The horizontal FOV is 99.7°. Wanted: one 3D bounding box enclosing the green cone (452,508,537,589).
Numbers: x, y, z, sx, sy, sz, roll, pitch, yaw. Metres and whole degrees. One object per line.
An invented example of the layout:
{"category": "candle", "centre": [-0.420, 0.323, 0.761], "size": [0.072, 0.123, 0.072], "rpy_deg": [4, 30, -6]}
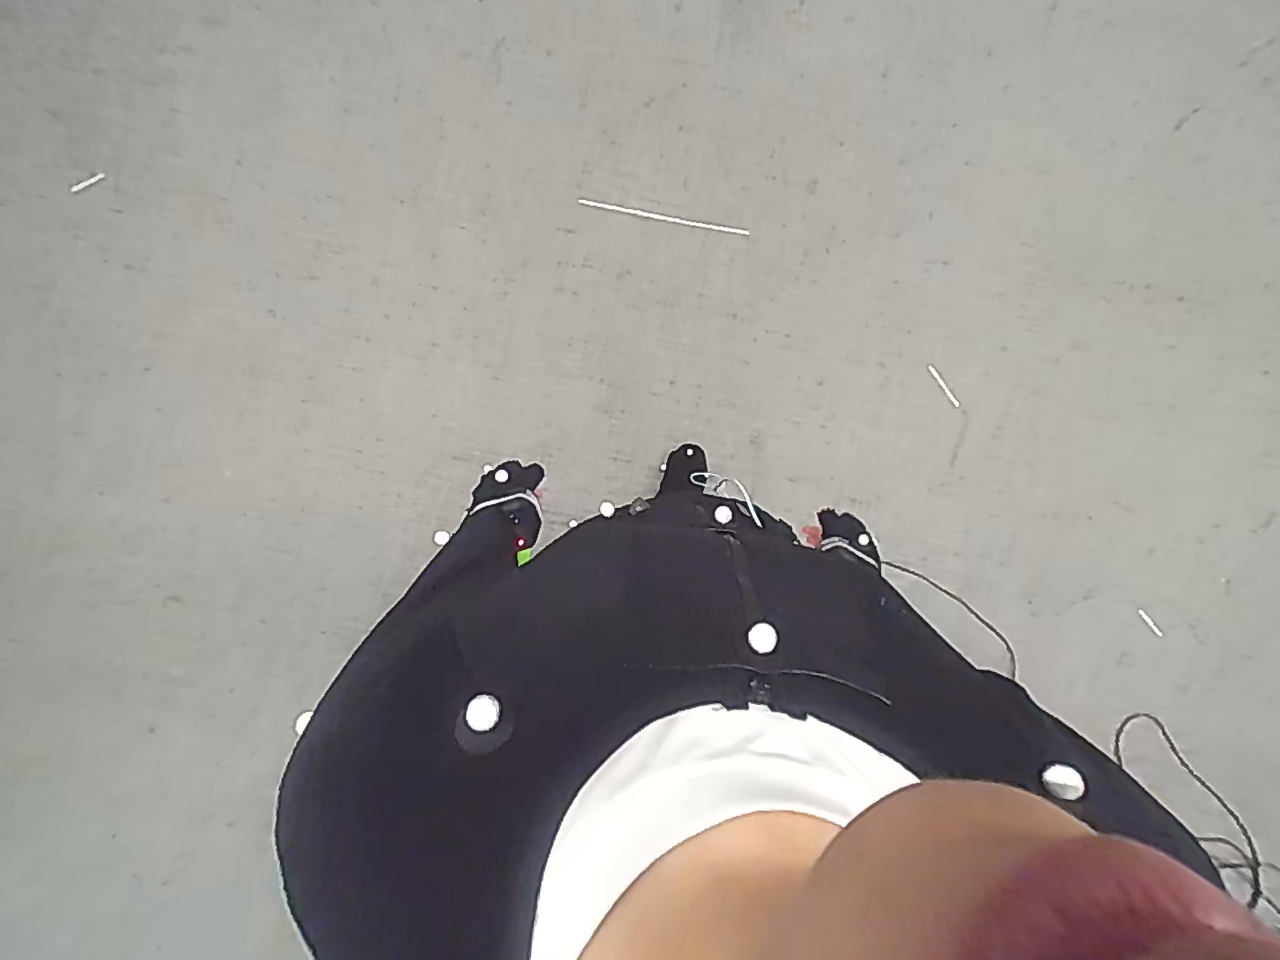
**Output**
{"category": "green cone", "centre": [-0.383, 0.186, 1.296], "size": [0.202, 0.368, 0.200], "rpy_deg": [9, 90, -2]}
